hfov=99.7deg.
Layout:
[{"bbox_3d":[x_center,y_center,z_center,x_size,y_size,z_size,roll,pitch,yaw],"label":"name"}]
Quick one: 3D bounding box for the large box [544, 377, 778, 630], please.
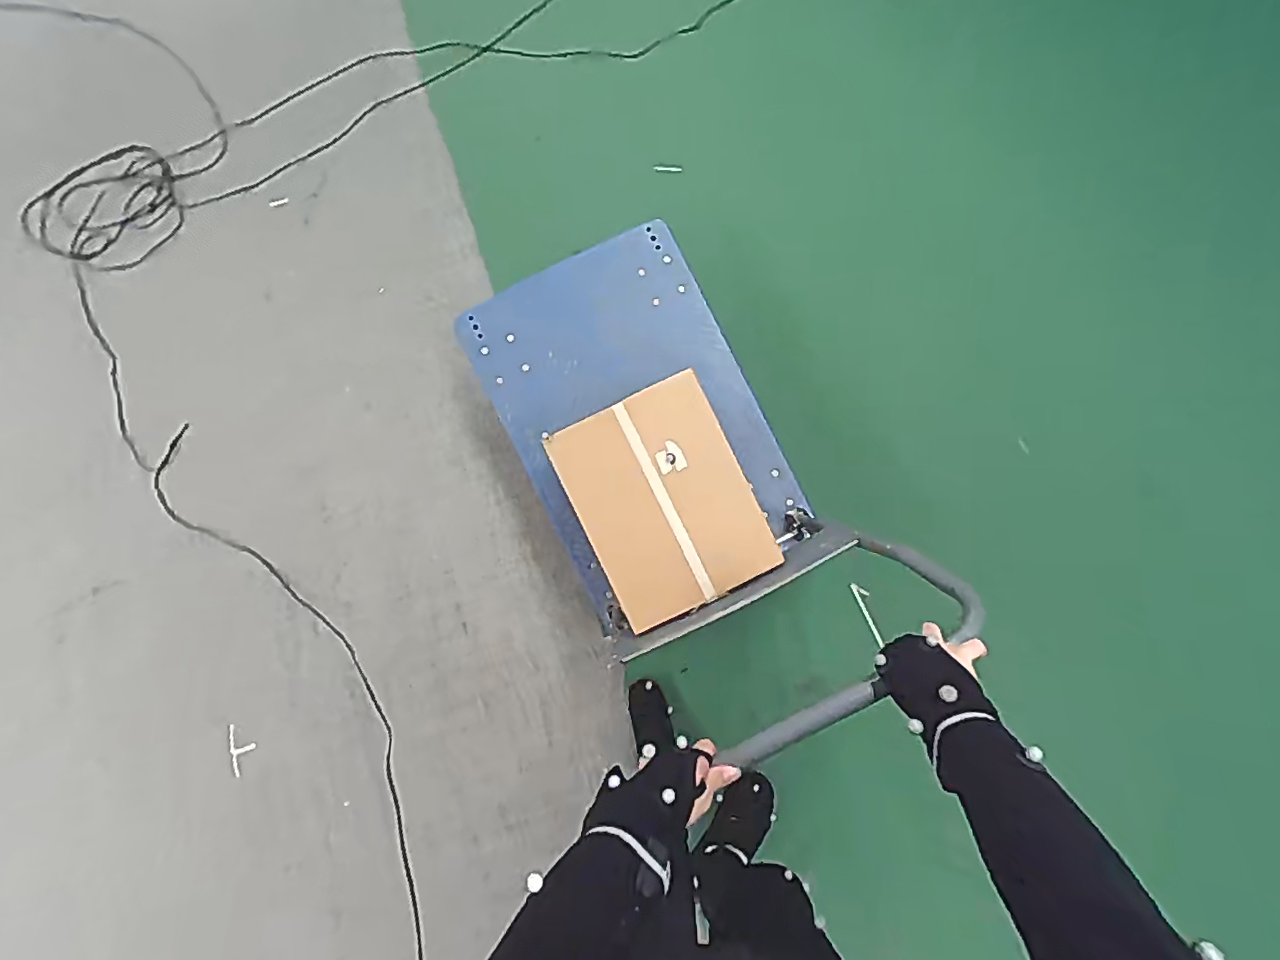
[{"bbox_3d":[0.042,0.048,1.177,0.320,0.320,0.408,-26,88,-1],"label":"large box"}]
